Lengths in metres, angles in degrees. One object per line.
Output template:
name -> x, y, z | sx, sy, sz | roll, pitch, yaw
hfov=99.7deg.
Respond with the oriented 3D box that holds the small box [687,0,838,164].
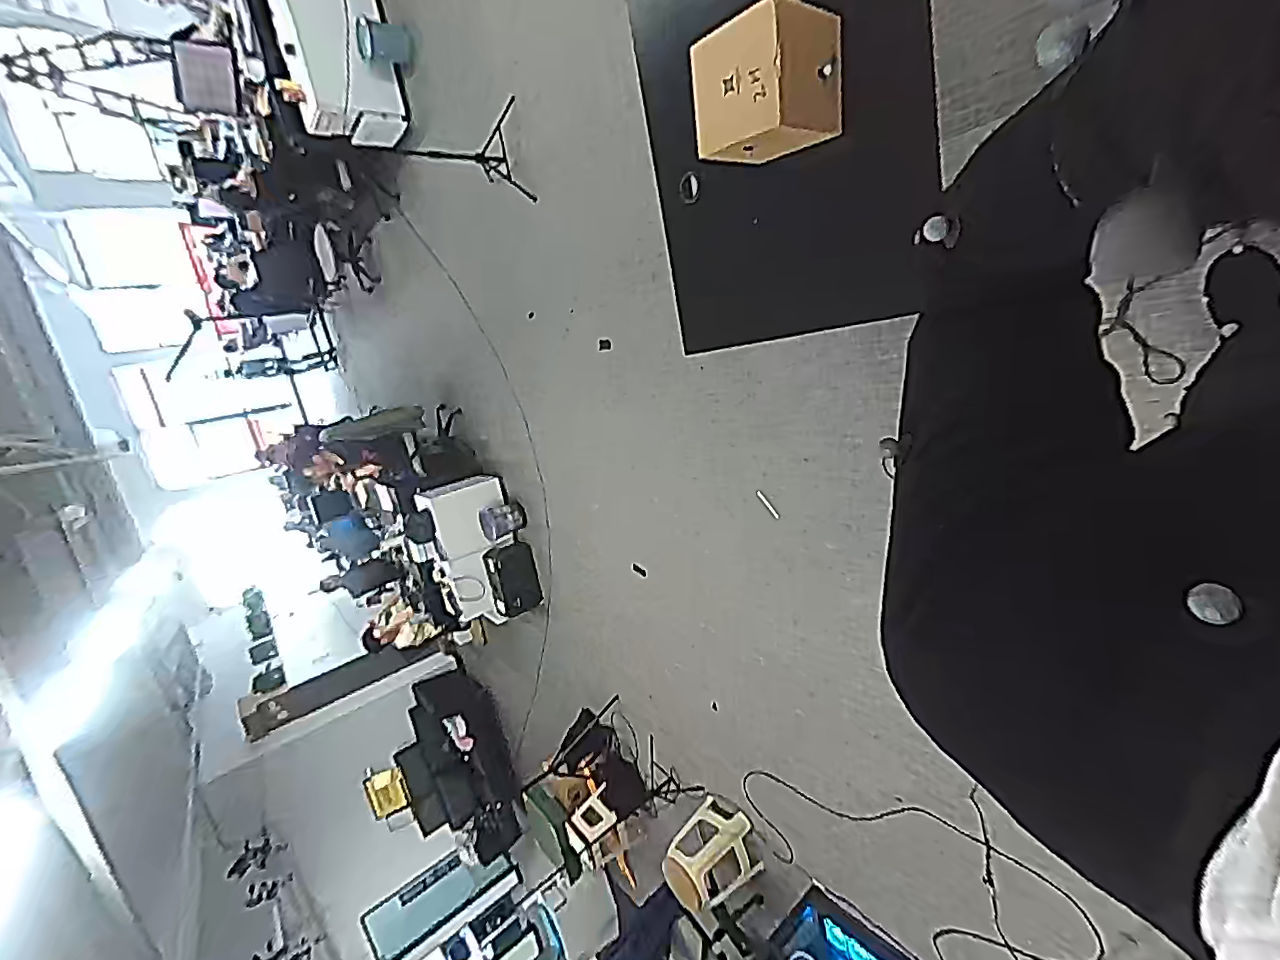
small box -> 0.203, -0.638, 0.894 | 0.179, 0.176, 0.168 | 14, 118, 50
